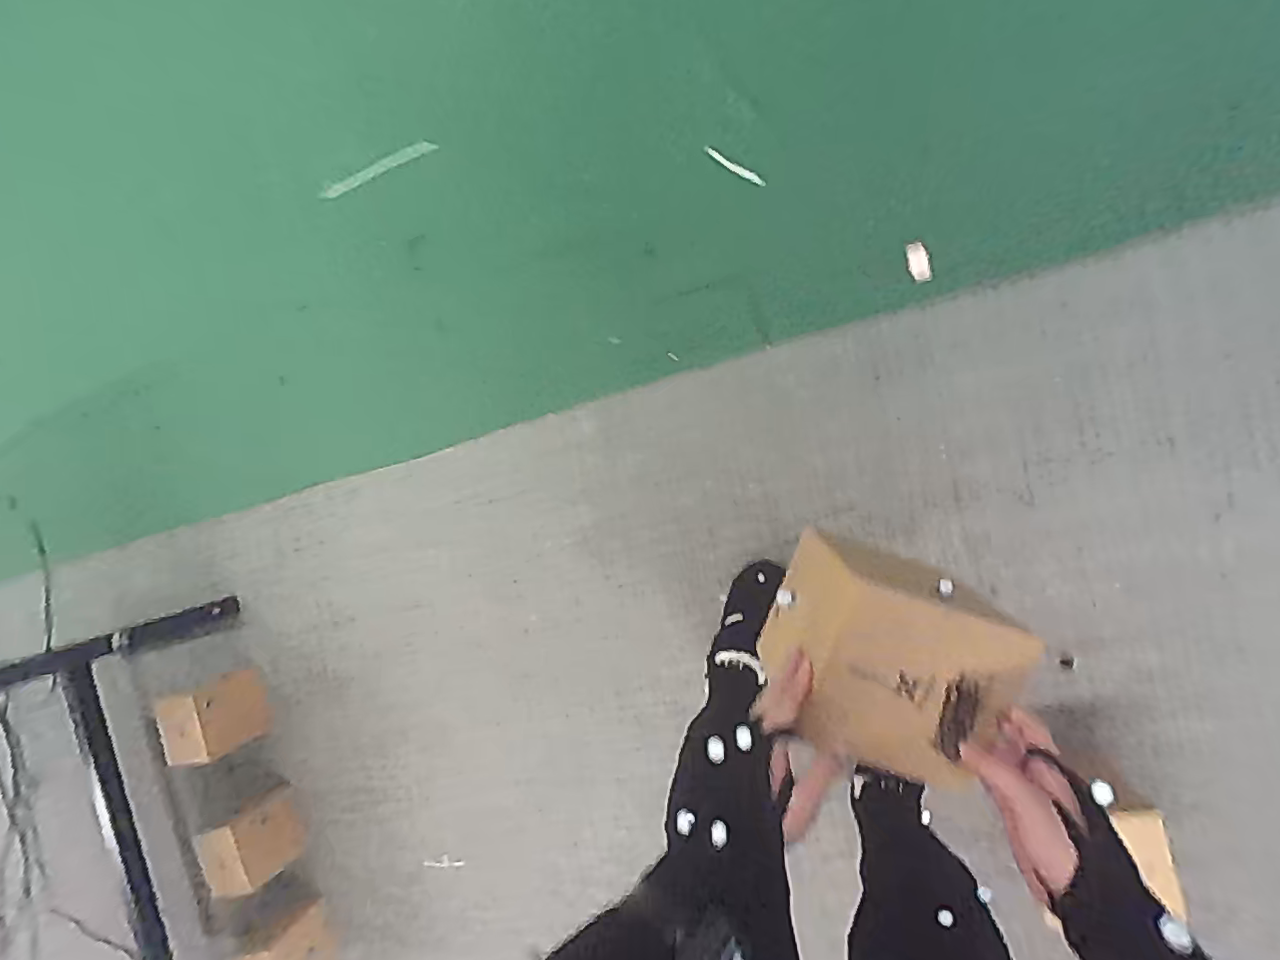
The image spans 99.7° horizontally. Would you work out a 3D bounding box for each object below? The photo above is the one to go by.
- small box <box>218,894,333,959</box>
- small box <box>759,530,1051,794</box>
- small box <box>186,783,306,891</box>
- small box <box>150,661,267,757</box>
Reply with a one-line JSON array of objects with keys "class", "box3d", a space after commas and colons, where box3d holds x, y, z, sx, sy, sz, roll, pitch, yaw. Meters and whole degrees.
[{"class": "small box", "box3d": [-0.947, 1.237, 1.425, 0.179, 0.176, 0.168, -23, 88, 18]}, {"class": "small box", "box3d": [0.238, 0.164, 0.539, 0.179, 0.176, 0.168, 17, 101, -2]}, {"class": "small box", "box3d": [-1.033, 0.931, 1.427, 0.168, 0.176, 0.179, -21, 89, 19]}, {"class": "small box", "box3d": [-1.132, 0.600, 1.431, 0.168, 0.176, 0.179, -14, 90, 18]}]
